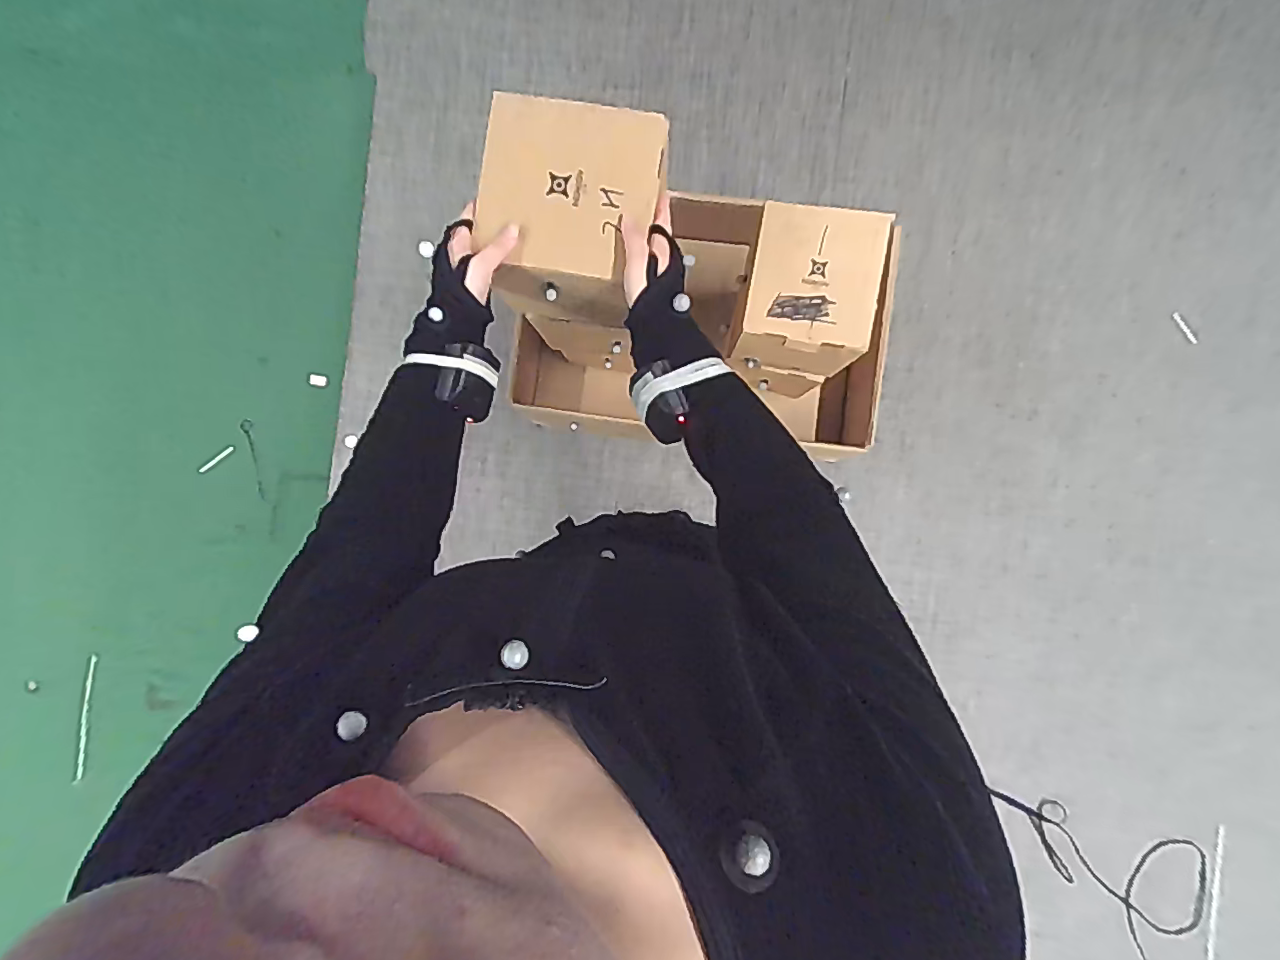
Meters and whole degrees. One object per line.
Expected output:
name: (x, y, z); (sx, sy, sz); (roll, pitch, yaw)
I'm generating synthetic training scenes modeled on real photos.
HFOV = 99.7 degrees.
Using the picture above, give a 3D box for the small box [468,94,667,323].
small box: (-0.068, -0.288, 0.609); (0.179, 0.176, 0.168); (10, 92, 3)

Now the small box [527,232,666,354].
small box: (-0.054, -0.295, 0.794); (0.168, 0.176, 0.179); (8, 90, 3)

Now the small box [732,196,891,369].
small box: (0.232, -0.268, 0.775); (0.168, 0.176, 0.179); (11, 90, 4)
